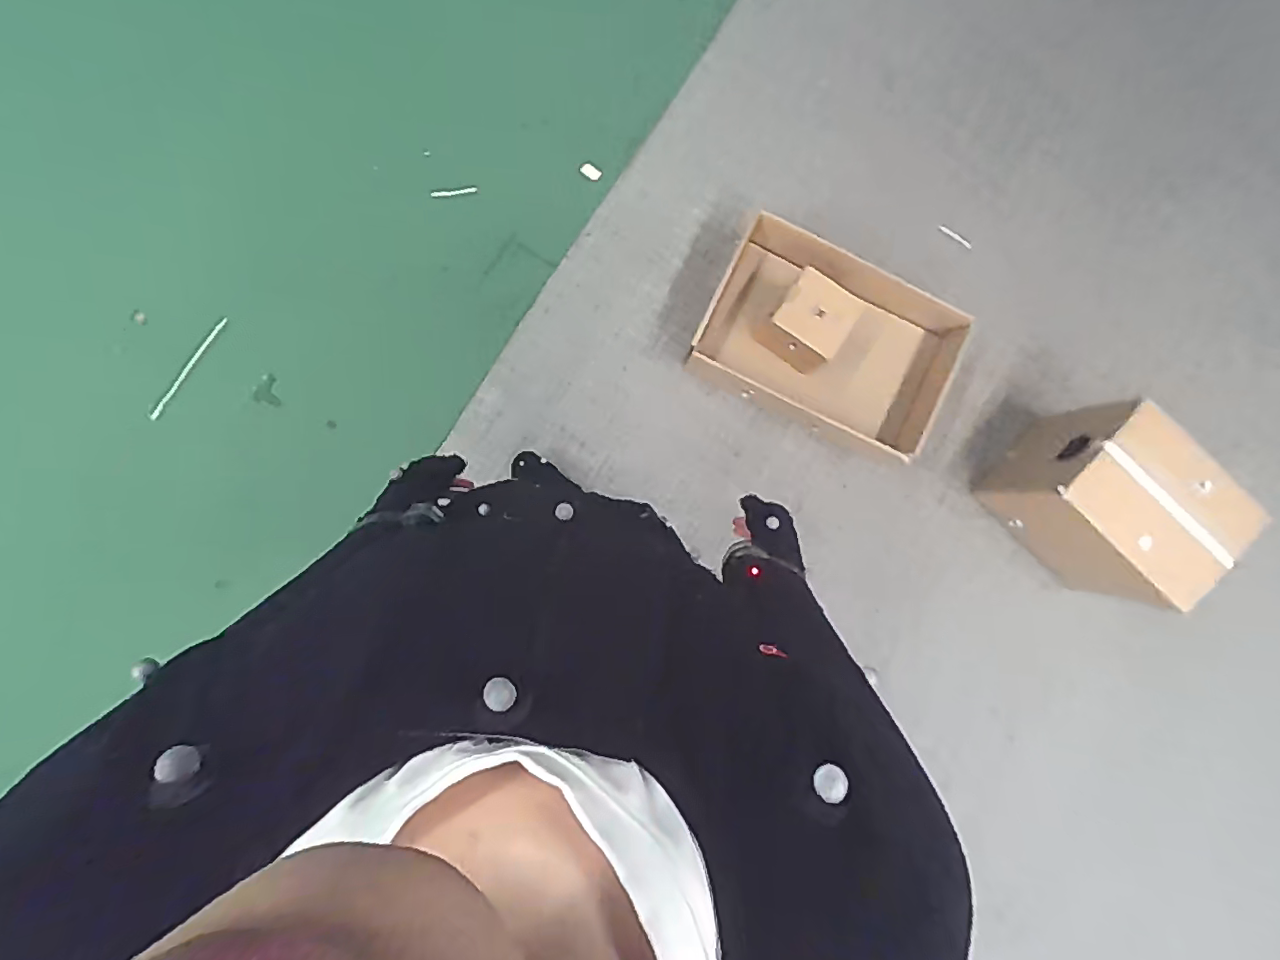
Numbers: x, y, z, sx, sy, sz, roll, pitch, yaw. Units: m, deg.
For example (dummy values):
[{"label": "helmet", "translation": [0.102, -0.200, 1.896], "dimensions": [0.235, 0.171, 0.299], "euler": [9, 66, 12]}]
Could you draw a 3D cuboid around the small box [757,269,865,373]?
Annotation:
[{"label": "small box", "translation": [0.427, -0.395, 1.381], "dimensions": [0.179, 0.176, 0.168], "euler": [33, 87, -4]}]
